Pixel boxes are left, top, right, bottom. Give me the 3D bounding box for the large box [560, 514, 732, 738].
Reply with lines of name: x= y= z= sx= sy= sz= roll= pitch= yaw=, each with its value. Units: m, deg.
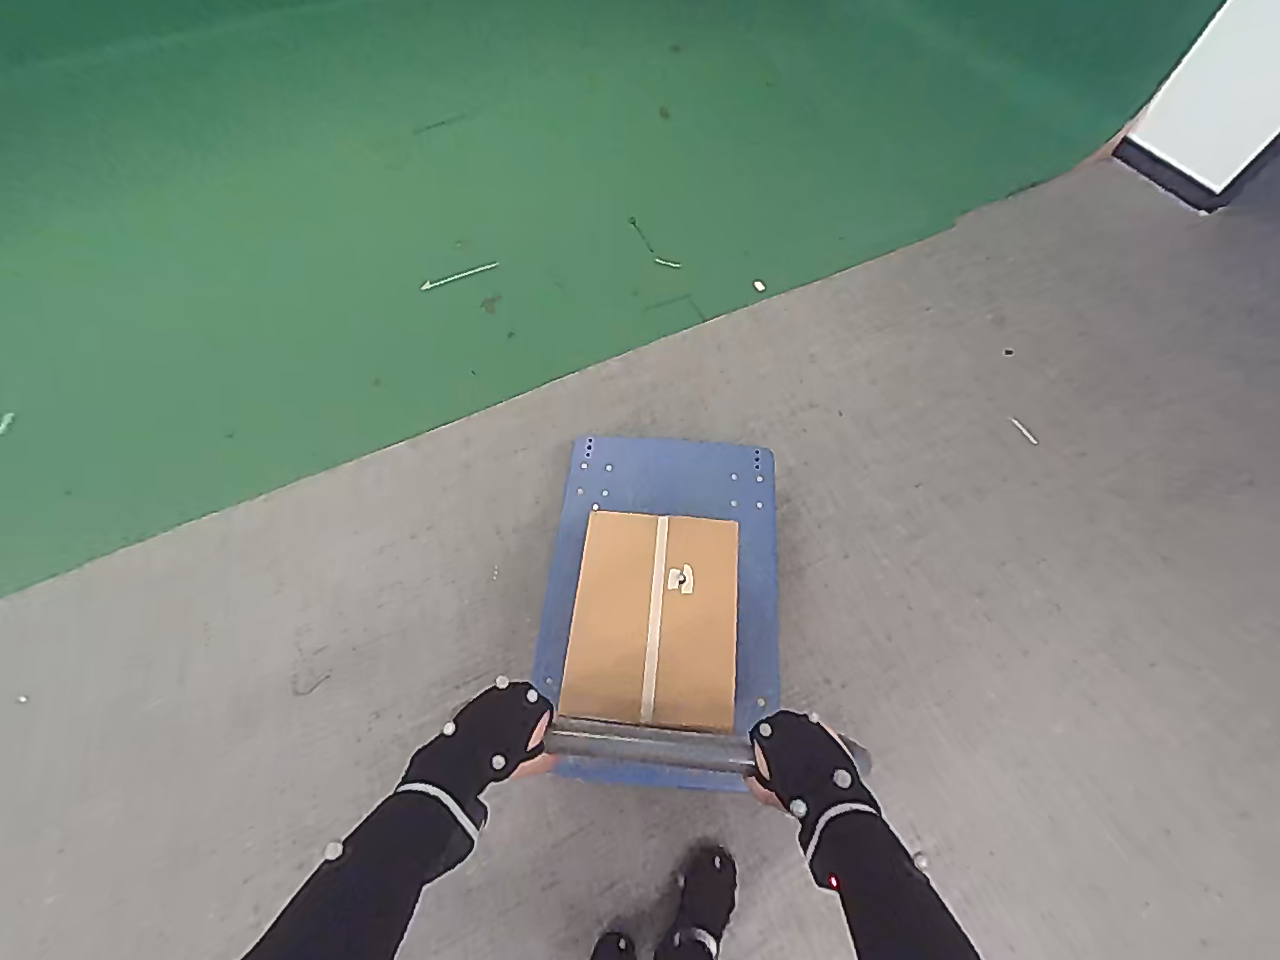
large box: x=0.028 y=0.328 z=1.190 sx=0.320 sy=0.320 sz=0.408 roll=5 pitch=62 yaw=4
